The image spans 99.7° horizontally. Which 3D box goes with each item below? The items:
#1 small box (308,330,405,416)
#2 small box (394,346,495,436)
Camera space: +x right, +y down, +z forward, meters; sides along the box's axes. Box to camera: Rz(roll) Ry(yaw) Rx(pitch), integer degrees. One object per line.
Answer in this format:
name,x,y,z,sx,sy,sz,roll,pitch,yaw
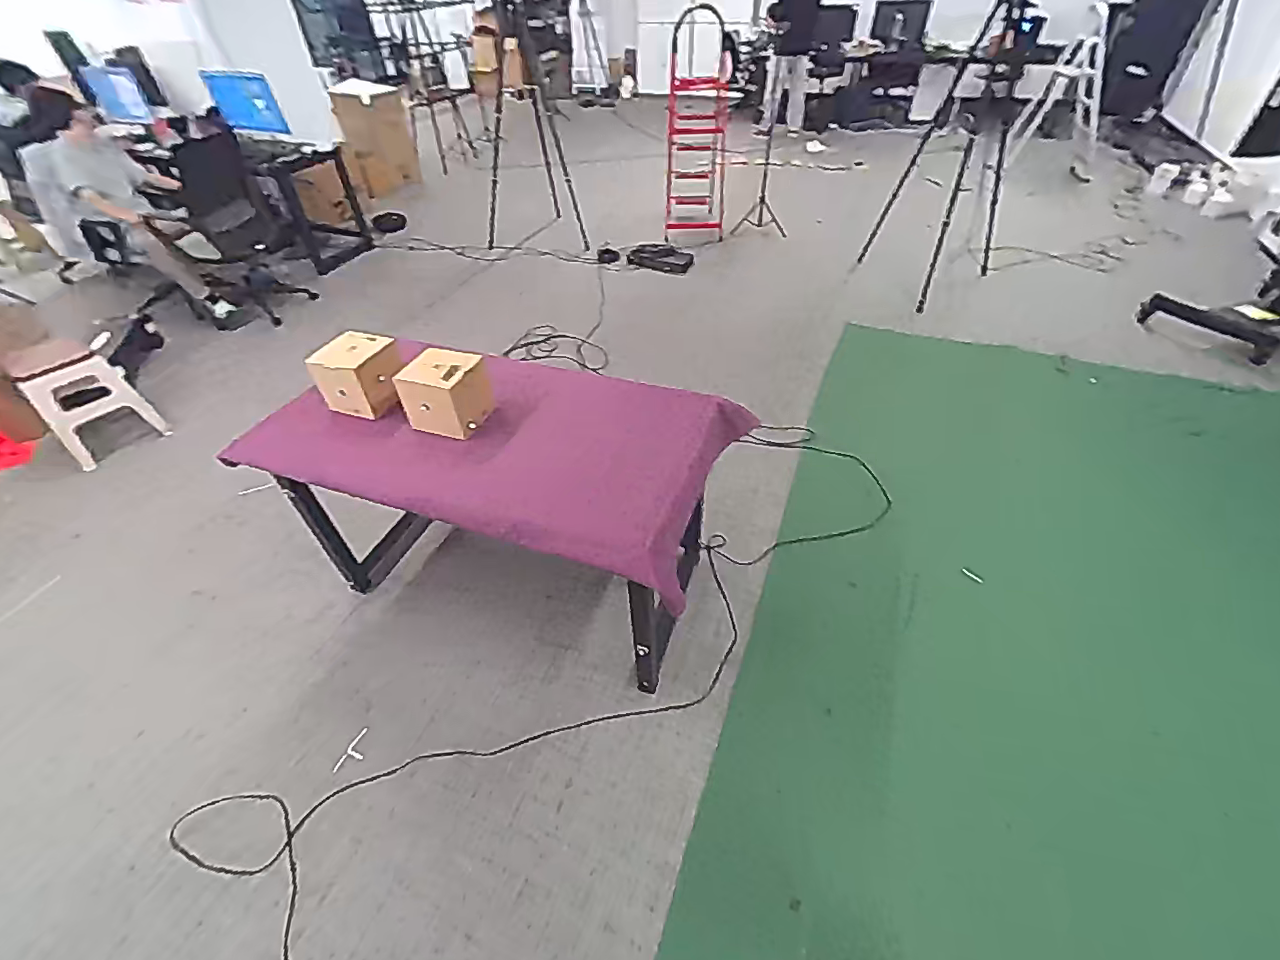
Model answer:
small box,-0.792,-0.305,1.551,0.168,0.176,0.179,13,47,15
small box,-0.519,-0.240,1.470,0.179,0.176,0.168,12,46,16
